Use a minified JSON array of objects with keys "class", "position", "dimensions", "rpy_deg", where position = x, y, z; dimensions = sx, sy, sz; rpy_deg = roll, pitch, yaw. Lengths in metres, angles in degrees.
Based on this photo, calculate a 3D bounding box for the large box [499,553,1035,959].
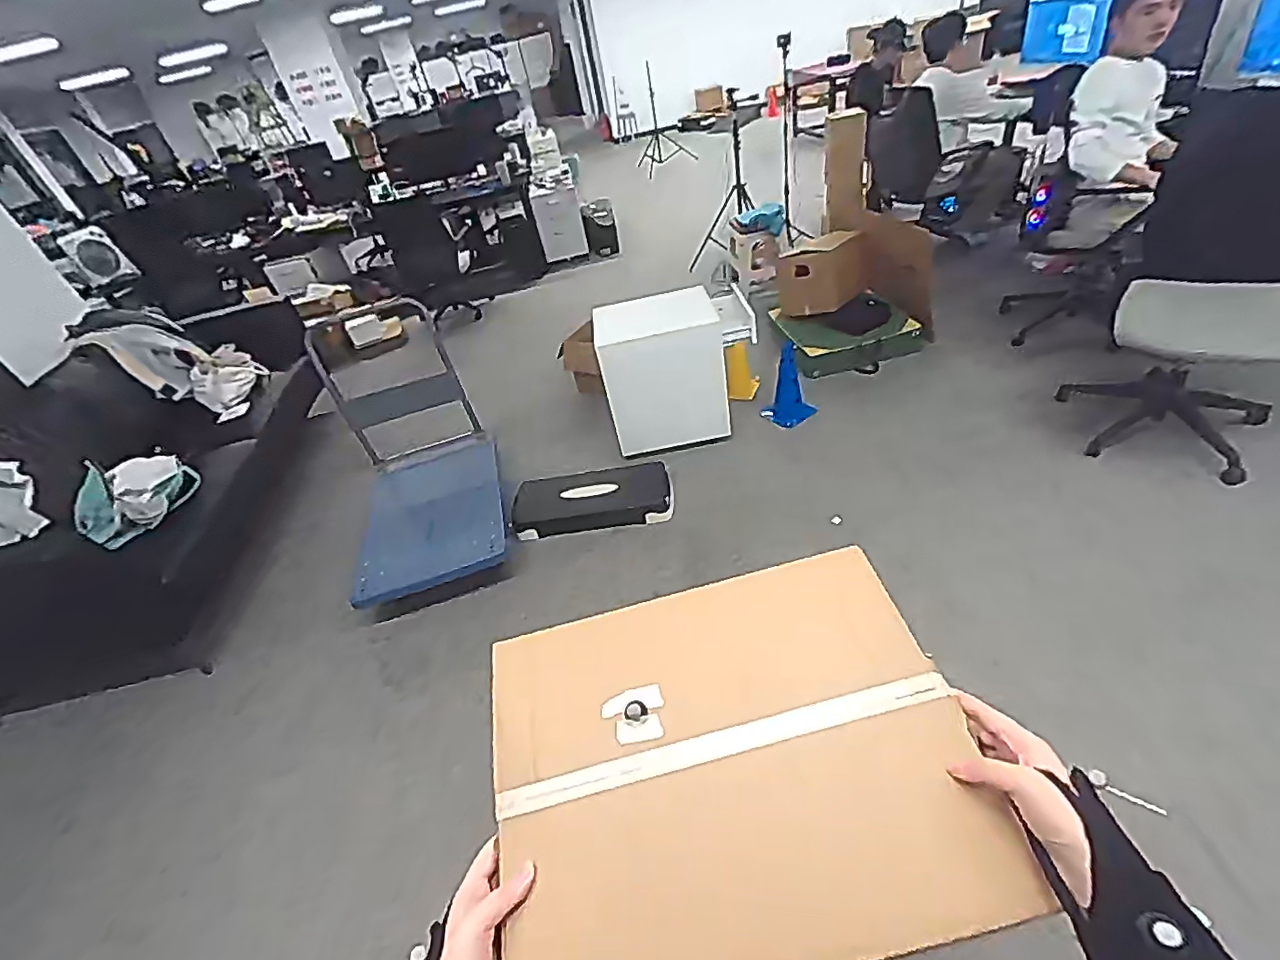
[{"class":"large box","position":[0.099,0.337,0.601],"dimensions":[0.408,0.320,0.320],"rpy_deg":[-17,49,1]}]
